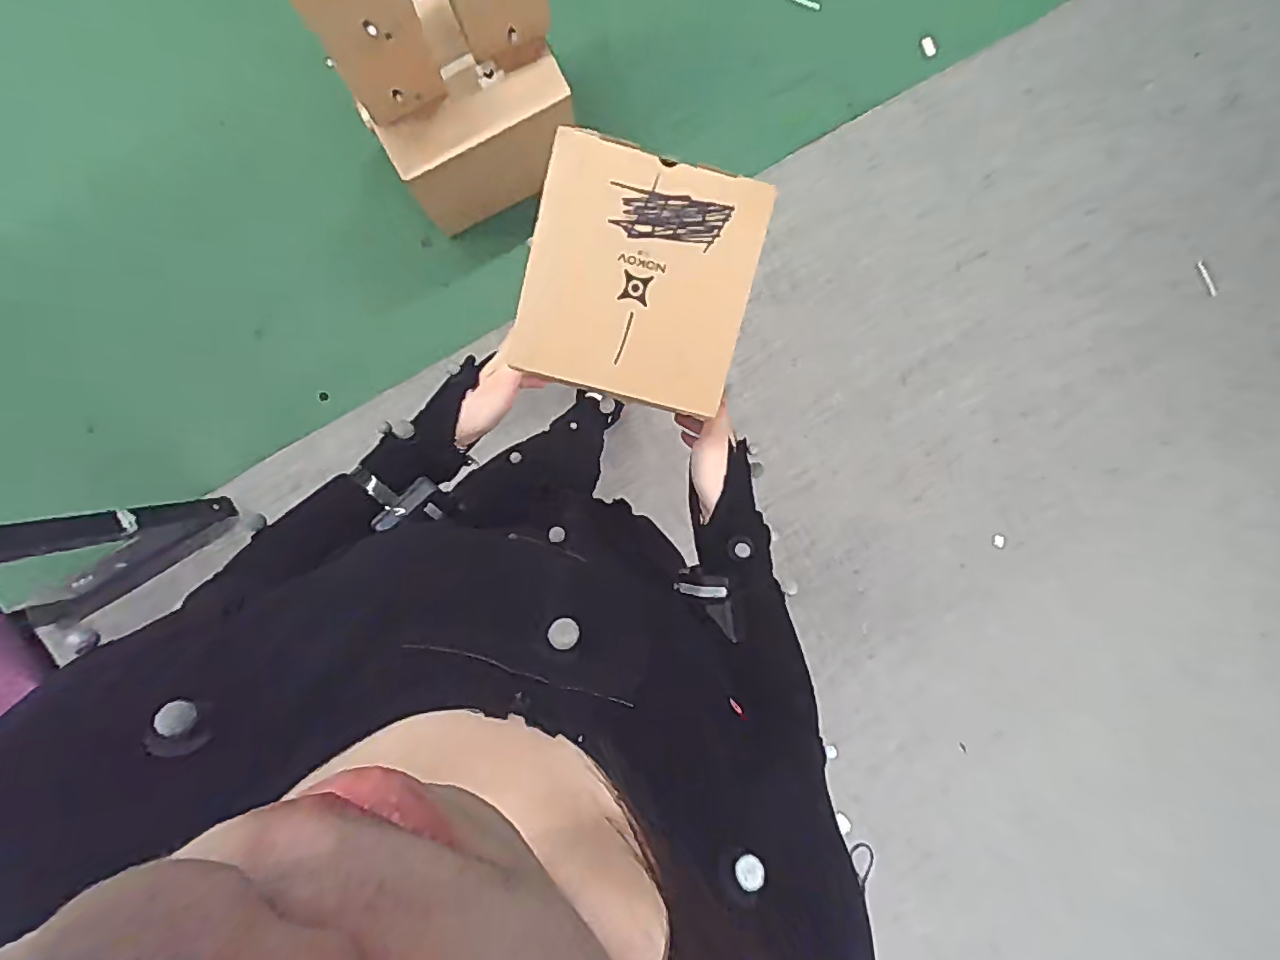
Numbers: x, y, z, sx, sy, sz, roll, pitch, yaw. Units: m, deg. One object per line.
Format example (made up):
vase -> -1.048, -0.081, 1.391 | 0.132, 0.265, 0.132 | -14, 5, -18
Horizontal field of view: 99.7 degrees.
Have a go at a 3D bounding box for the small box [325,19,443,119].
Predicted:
small box -> -0.500, -0.833, 1.012 | 0.168, 0.176, 0.179 | -29, 94, -2

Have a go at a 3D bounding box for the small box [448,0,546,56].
small box -> -0.286, -0.959, 1.014 | 0.179, 0.176, 0.168 | -24, 93, -1

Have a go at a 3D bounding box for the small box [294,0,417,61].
small box -> -0.487, -0.824, 0.848 | 0.168, 0.176, 0.179 | -30, 95, -2

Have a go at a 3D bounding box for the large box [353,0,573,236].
large box -> -0.397, -0.854, 1.260 | 0.408, 0.320, 0.320 | -29, 95, -2

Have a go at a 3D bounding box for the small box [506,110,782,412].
small box -> 0.000, -0.164, 0.467 | 0.168, 0.176, 0.179 | 15, 97, -2
